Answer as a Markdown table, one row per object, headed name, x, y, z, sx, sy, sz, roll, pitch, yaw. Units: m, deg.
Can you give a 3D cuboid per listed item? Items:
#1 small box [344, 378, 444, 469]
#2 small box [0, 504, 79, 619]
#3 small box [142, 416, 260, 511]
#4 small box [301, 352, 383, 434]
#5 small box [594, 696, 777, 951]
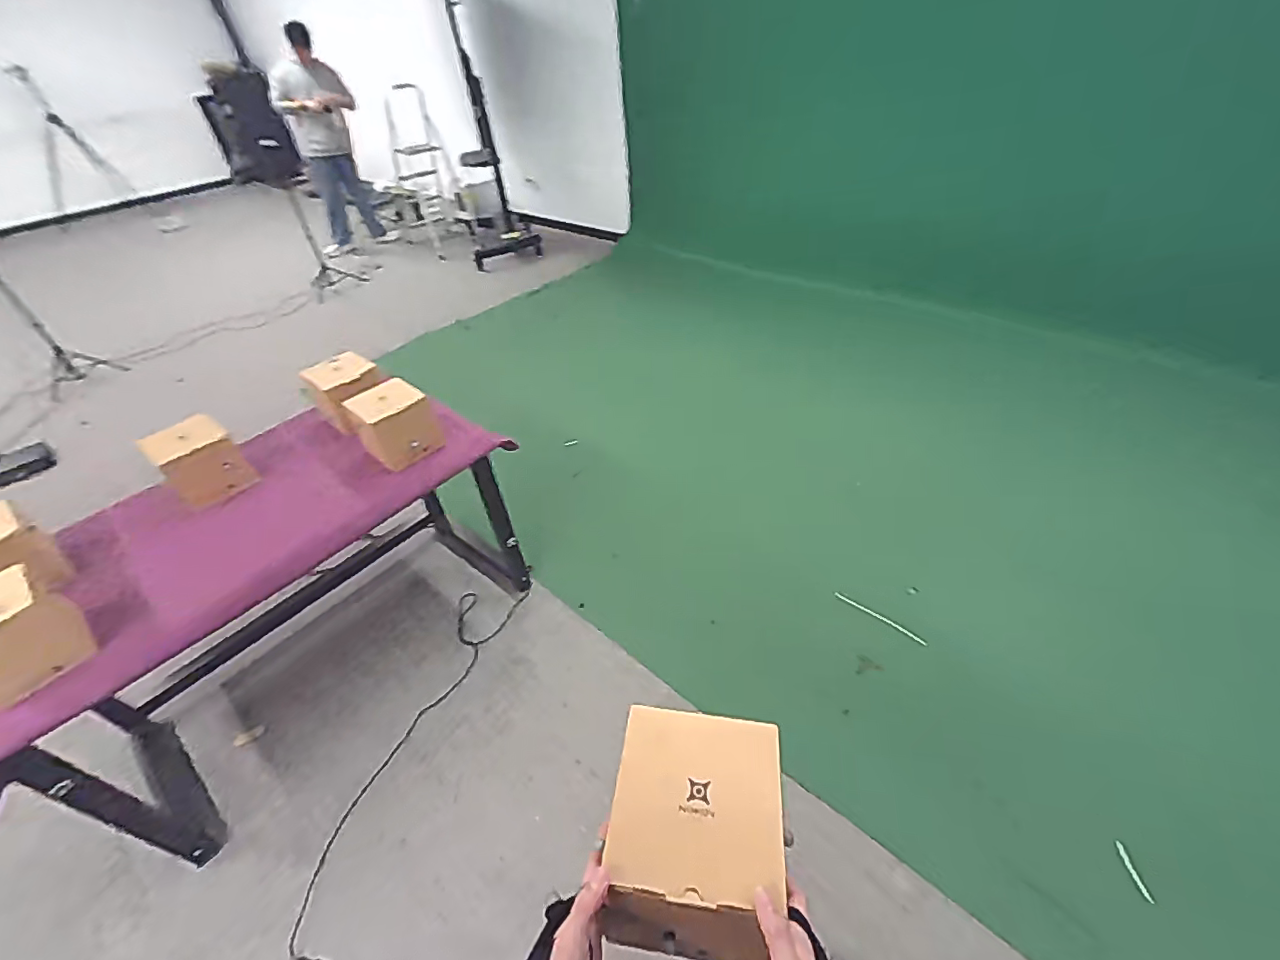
| name | x | y | z | sx | sy | sz | roll | pitch | yaw |
| --- | --- | --- | --- | --- | --- | --- | --- | --- | --- |
| small box | -0.685 | -0.156 | 1.520 | 0.179 | 0.176 | 0.168 | 29 | 54 | 34 |
| small box | -1.442 | 0.191 | 1.226 | 0.179 | 0.176 | 0.168 | 25 | 50 | 31 |
| small box | -1.174 | -0.041 | 1.458 | 0.179 | 0.176 | 0.168 | 27 | 50 | 31 |
| small box | -0.895 | -0.264 | 1.672 | 0.179 | 0.176 | 0.168 | 28 | 52 | 31 |
| small box | 0.049 | 0.367 | 0.587 | 0.168 | 0.176 | 0.179 | 5 | 39 | 6 |
